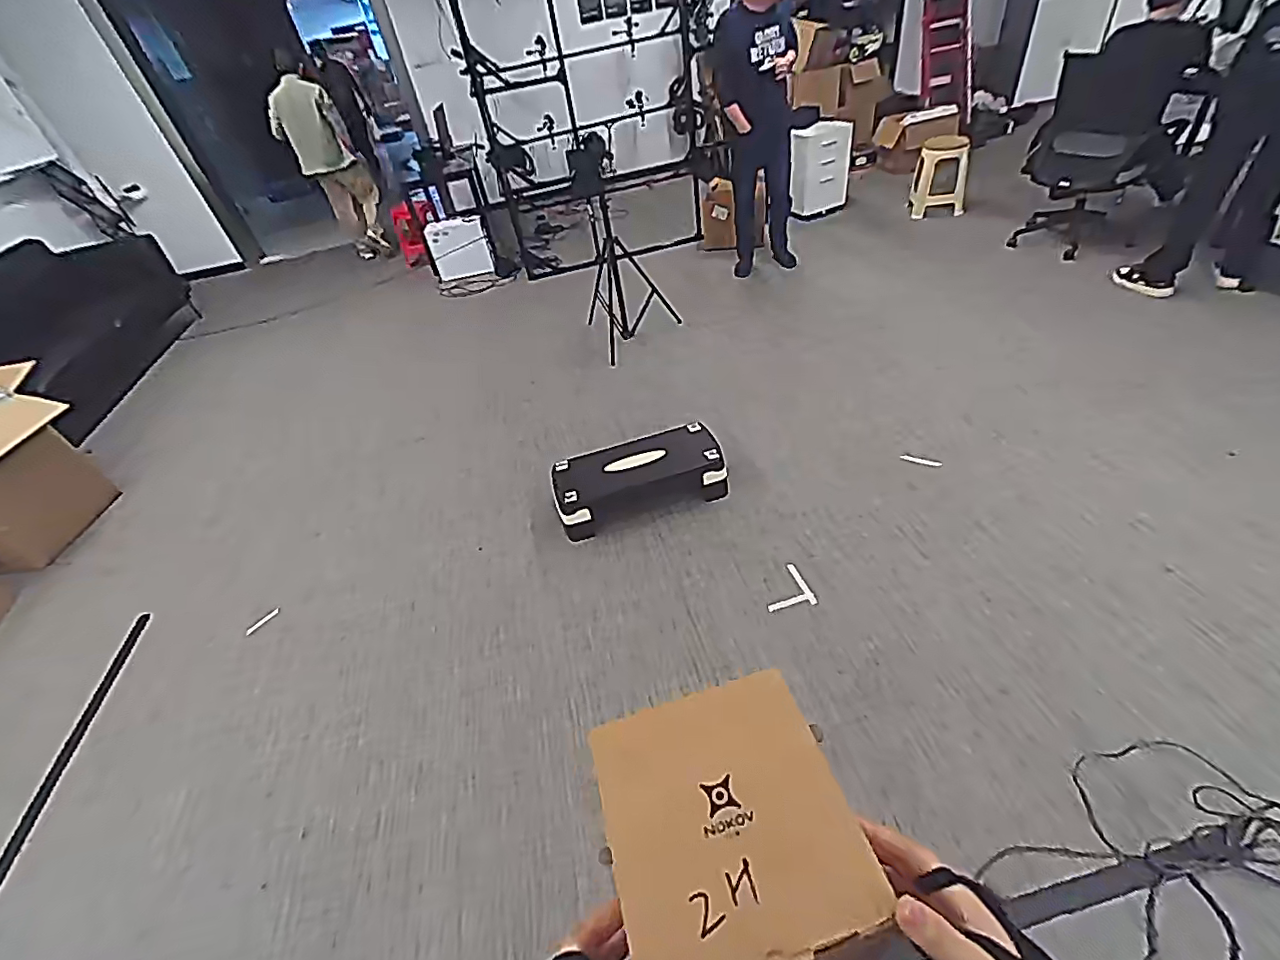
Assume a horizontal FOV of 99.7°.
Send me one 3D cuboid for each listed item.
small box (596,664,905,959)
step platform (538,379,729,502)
[{"bbox_3d":[0.073,0.285,0.428,0.168,0.176,0.179,-17,40,-4],"label":"small box"},{"bbox_3d":[-0.021,-0.149,2.014,0.684,0.204,0.286,-16,41,-6],"label":"step platform"}]
